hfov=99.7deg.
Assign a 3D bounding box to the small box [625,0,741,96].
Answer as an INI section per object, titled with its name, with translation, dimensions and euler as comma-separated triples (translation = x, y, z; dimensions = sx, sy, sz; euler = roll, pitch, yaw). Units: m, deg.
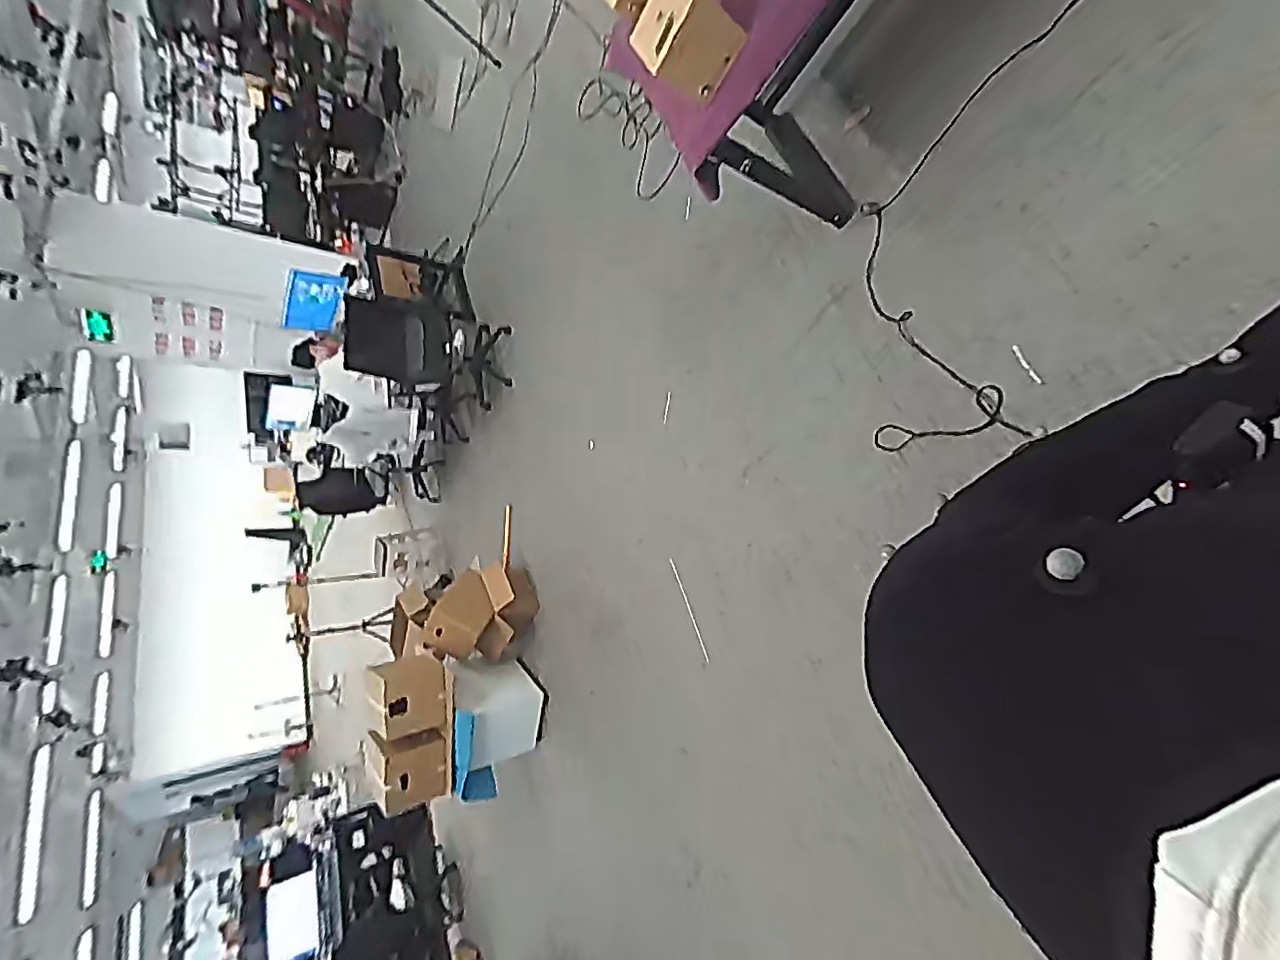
[small box]
translation = 0.099, -1.026, 1.237
dimensions = 0.168, 0.176, 0.179
euler = -47, 55, 40
